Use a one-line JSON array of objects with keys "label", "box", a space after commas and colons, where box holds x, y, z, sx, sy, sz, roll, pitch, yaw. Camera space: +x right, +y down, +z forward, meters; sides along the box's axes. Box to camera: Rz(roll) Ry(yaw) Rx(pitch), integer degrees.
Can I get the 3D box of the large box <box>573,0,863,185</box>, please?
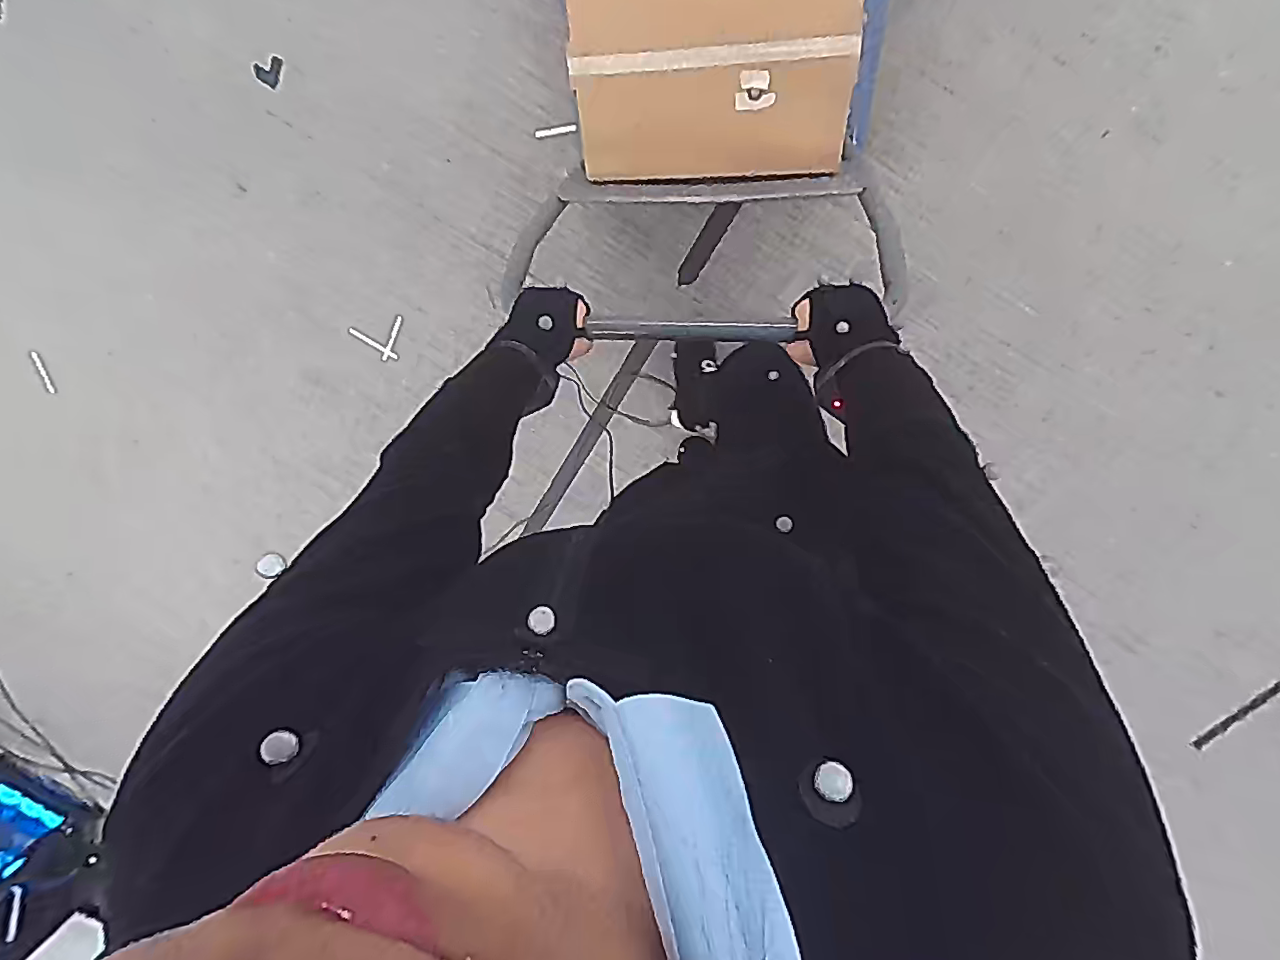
[{"label": "large box", "box": [0.127, -0.708, 0.901, 0.408, 0.320, 0.320, 2, 131, 8]}]
